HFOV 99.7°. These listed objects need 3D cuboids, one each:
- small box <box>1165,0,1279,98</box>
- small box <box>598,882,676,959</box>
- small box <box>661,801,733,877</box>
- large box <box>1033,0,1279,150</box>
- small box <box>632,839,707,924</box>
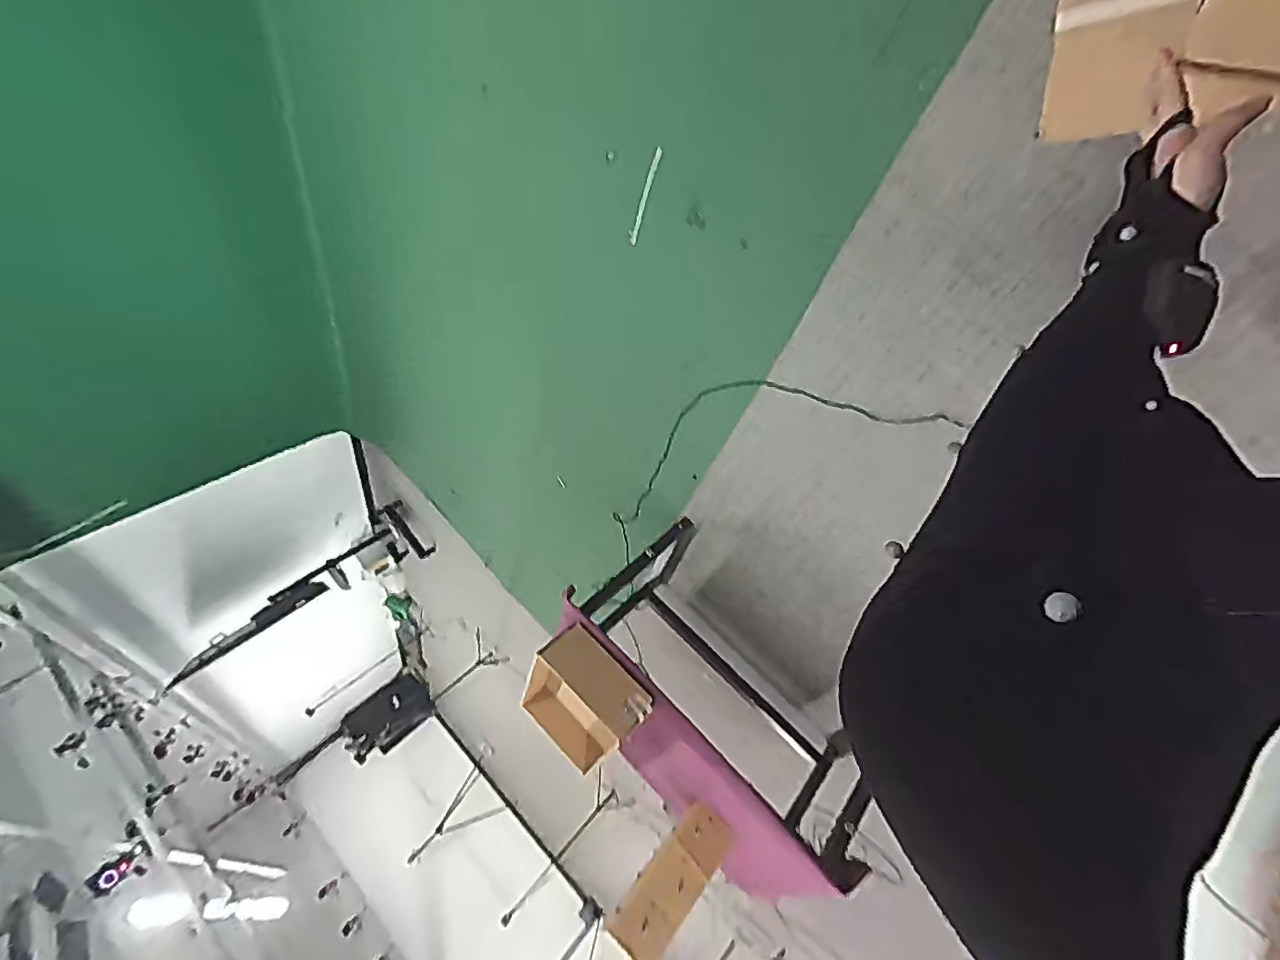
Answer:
[{"bbox_3d":[0.585,-0.414,0.433,0.179,0.176,0.168,36,134,27],"label":"small box"},{"bbox_3d":[-0.006,1.438,1.745,0.168,0.176,0.179,43,142,17],"label":"small box"},{"bbox_3d":[0.207,1.286,1.938,0.168,0.176,0.179,43,142,16],"label":"small box"},{"bbox_3d":[0.859,-0.695,0.765,0.408,0.320,0.320,18,129,40],"label":"large box"},{"bbox_3d":[0.103,1.359,1.839,0.168,0.176,0.179,43,142,16],"label":"small box"}]
